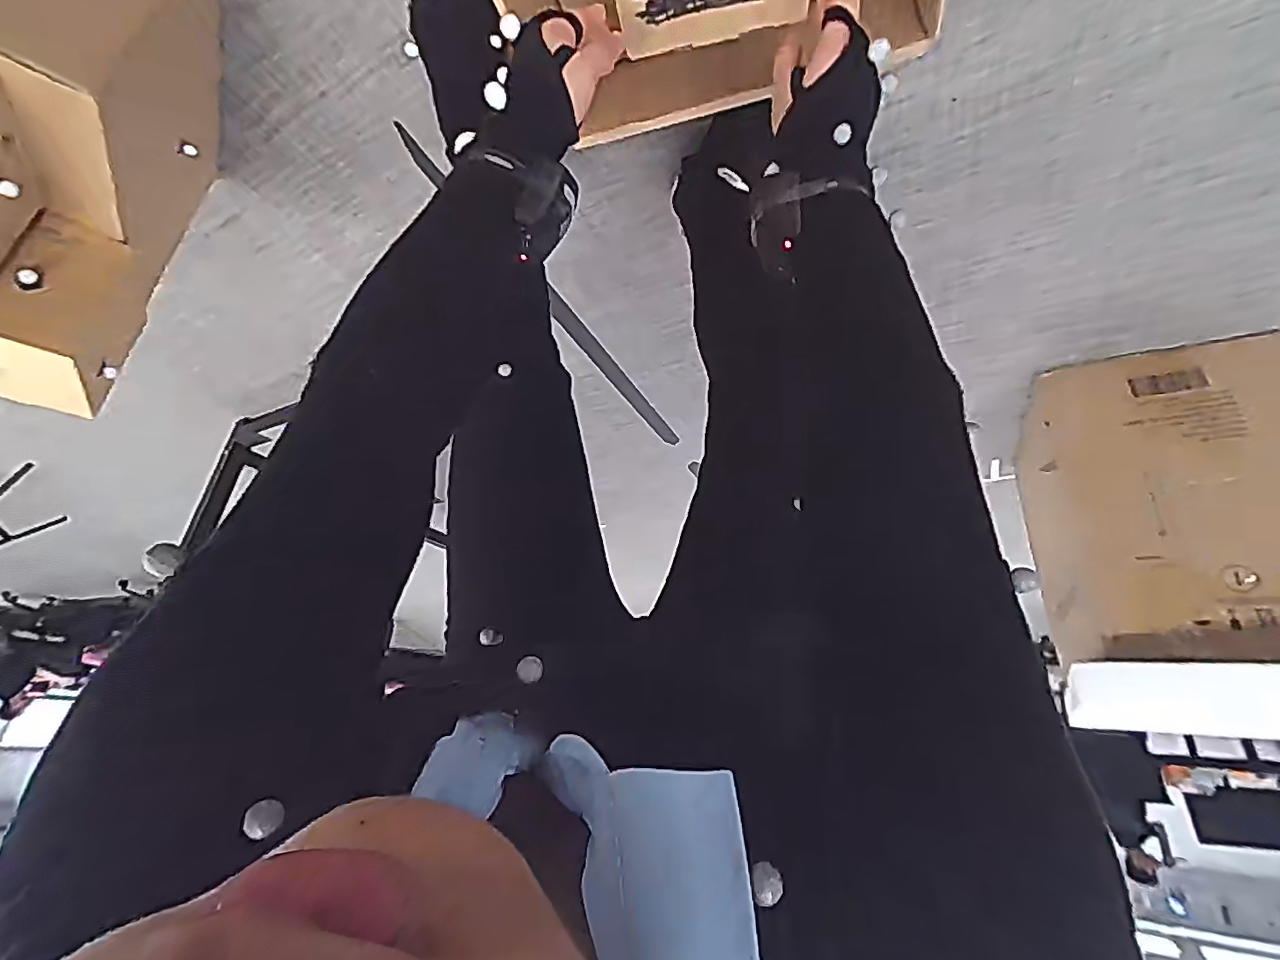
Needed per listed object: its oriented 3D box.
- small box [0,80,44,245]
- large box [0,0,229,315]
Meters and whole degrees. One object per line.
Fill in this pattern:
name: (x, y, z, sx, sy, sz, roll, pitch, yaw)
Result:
small box: (-0.671, -0.280, 0.447, 0.179, 0.176, 0.168, 19, 153, -30)
large box: (-0.708, -0.476, 0.617, 0.320, 0.320, 0.408, 21, 151, -30)
